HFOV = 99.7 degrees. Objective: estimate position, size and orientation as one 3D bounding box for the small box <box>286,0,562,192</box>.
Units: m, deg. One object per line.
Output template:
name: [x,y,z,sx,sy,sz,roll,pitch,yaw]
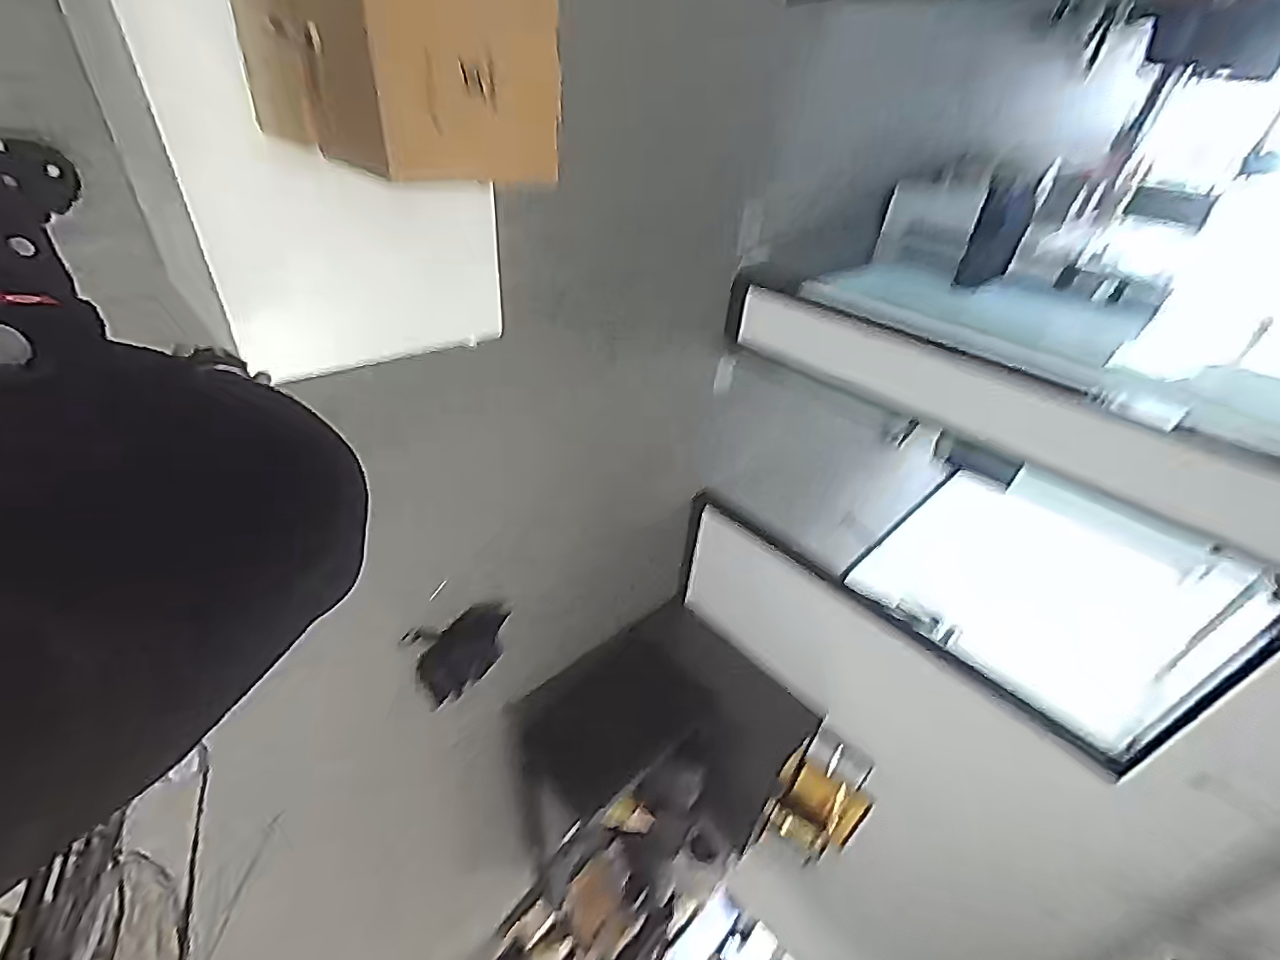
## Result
small box: [-0.191,-0.370,0.495,0.179,0.176,0.168,-25,135,-36]
